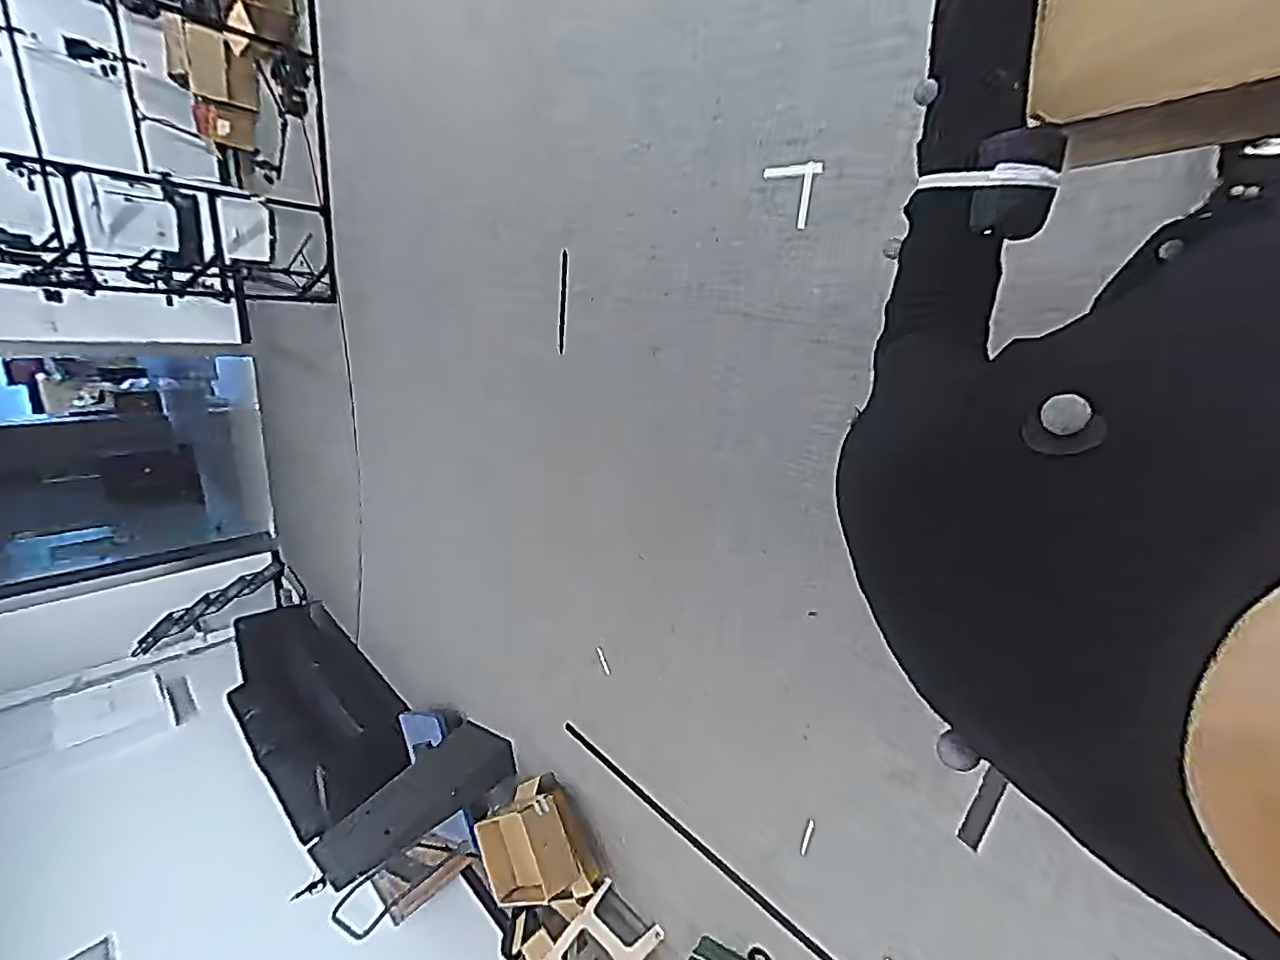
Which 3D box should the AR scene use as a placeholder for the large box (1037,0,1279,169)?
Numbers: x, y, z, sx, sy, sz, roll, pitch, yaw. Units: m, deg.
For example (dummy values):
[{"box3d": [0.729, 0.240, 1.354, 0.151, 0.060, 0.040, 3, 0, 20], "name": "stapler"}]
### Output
[{"box3d": [0.508, -0.416, 0.320, 0.408, 0.320, 0.320, 9, 115, 39], "name": "large box"}]
